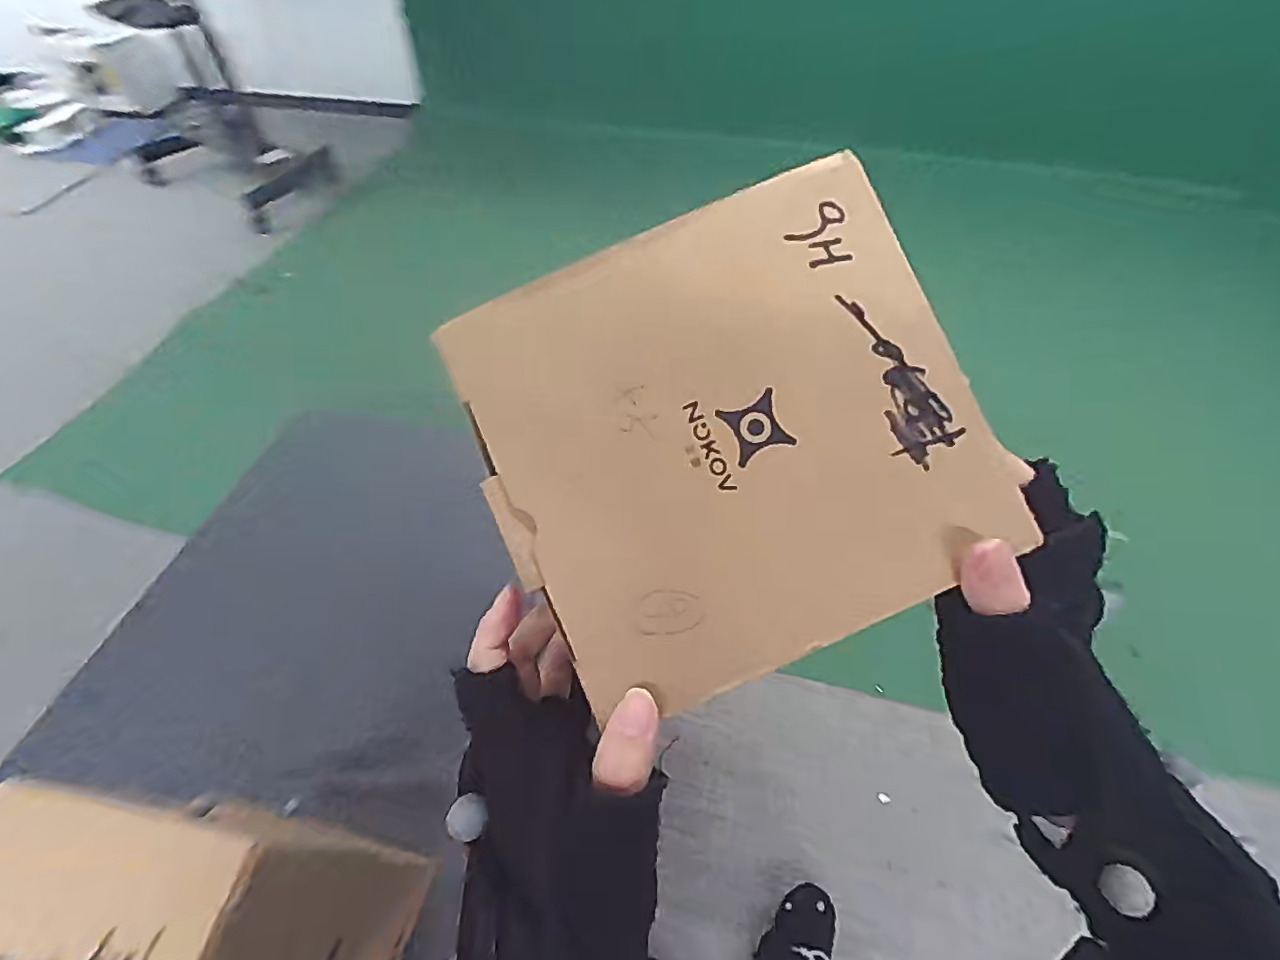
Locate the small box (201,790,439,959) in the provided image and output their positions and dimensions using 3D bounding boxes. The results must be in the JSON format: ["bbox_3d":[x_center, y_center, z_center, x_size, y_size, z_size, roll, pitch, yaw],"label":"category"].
[{"bbox_3d":[-0.311,0.395,0.474,0.179,0.176,0.168,10,55,8],"label":"small box"}]

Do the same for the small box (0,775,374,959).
[{"bbox_3d":[-0.307,0.301,0.339,0.179,0.176,0.168,6,54,8],"label":"small box"}]
